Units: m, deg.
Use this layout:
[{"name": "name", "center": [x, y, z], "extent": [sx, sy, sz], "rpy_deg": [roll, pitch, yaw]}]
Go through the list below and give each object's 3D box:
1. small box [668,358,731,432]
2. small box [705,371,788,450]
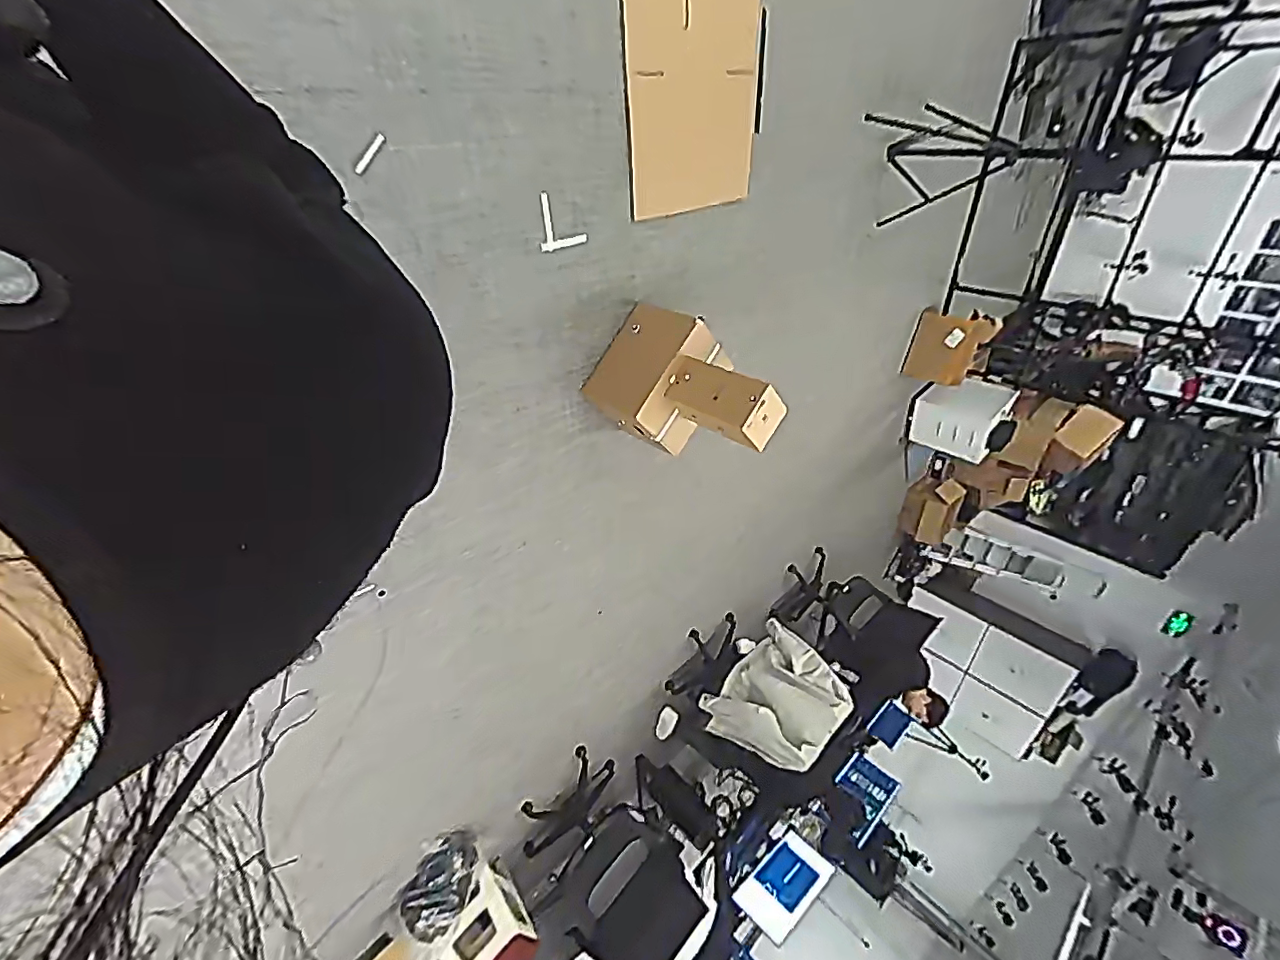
[{"name": "small box", "center": [0.227, -0.292, 1.828], "extent": [0.168, 0.176, 0.179], "rpy_deg": [-58, 140, -2]}, {"name": "small box", "center": [0.339, -0.226, 1.727], "extent": [0.168, 0.176, 0.179], "rpy_deg": [-58, 142, -3]}]
